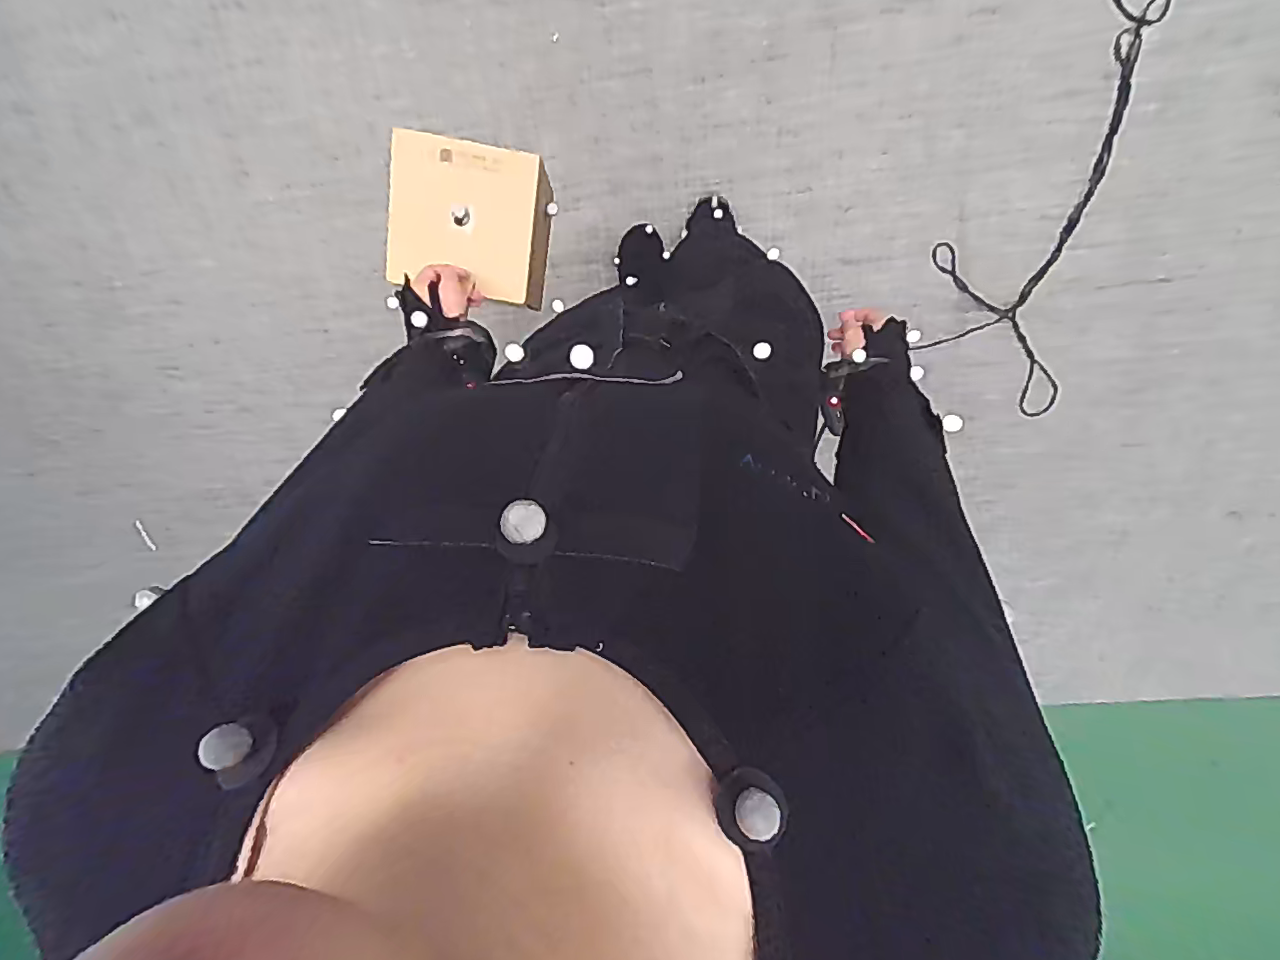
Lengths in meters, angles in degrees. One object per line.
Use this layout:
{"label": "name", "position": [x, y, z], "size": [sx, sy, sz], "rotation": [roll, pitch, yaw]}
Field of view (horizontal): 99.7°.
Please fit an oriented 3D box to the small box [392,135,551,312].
{"label": "small box", "position": [-0.211, -0.322, 0.708], "size": [0.168, 0.179, 0.176], "rotation": [7, 103, -6]}
